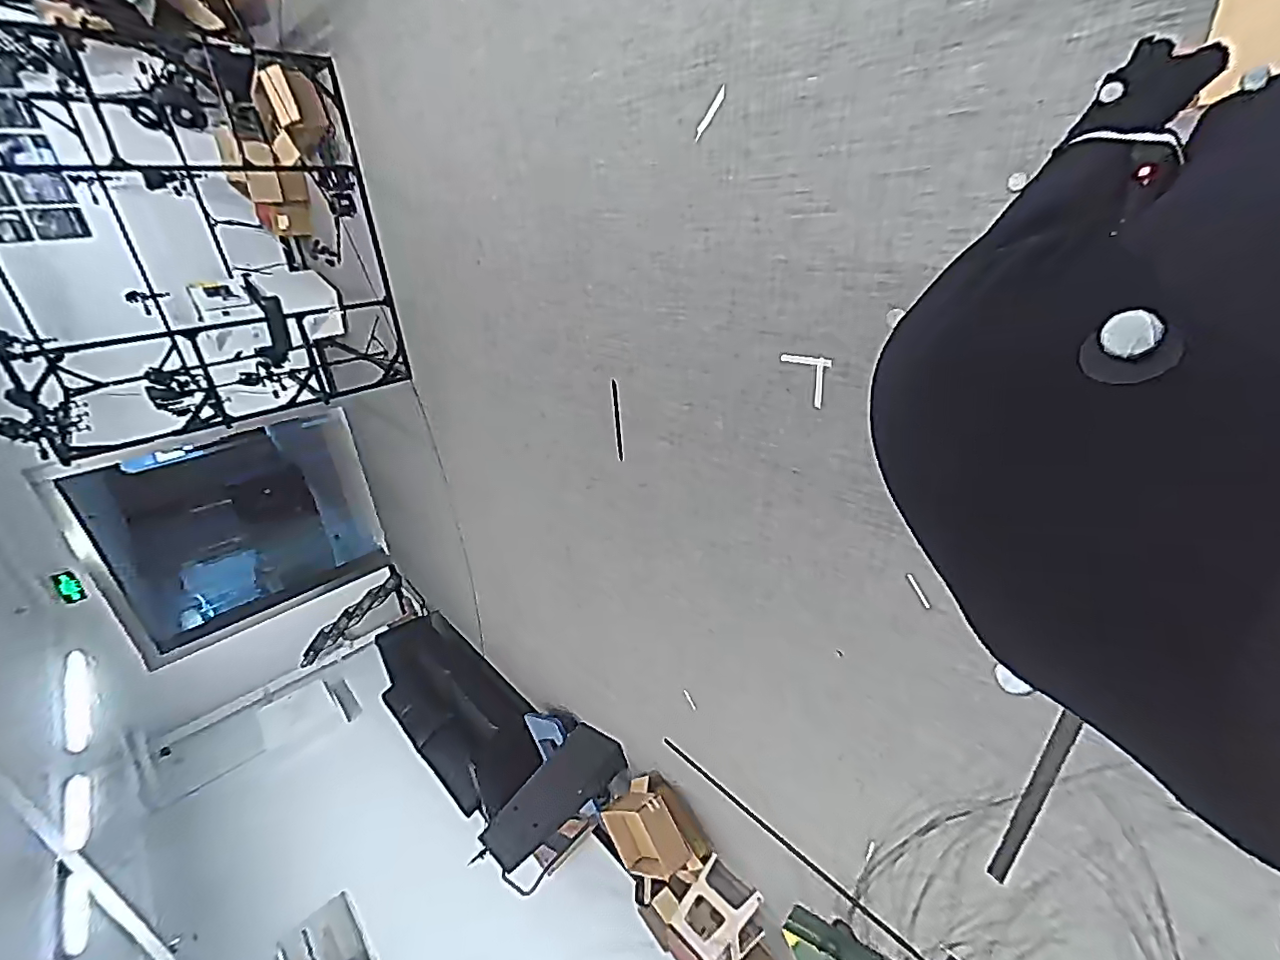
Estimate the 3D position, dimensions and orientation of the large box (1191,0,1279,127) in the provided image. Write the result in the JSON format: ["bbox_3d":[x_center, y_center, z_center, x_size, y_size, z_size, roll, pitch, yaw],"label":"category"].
[{"bbox_3d":[1.012,-0.663,0.667,0.408,0.320,0.320,20,125,42],"label":"large box"}]
